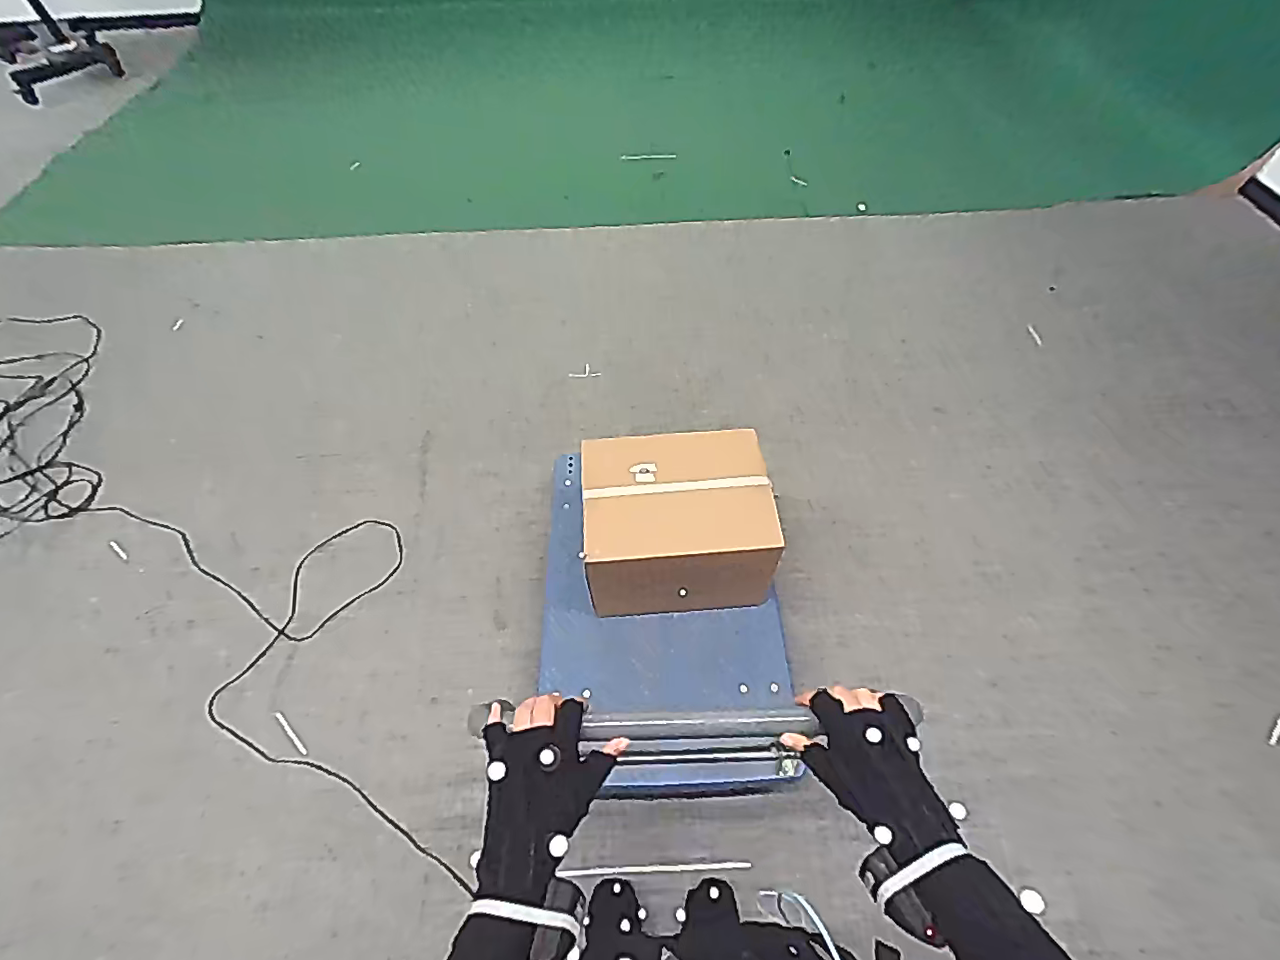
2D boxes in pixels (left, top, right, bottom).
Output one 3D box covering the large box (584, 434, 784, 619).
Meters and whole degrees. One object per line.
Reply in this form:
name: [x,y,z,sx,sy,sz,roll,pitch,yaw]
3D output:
large box: [0.086,0.118,1.289,0.408,0.320,0.320,-5,54,-1]
